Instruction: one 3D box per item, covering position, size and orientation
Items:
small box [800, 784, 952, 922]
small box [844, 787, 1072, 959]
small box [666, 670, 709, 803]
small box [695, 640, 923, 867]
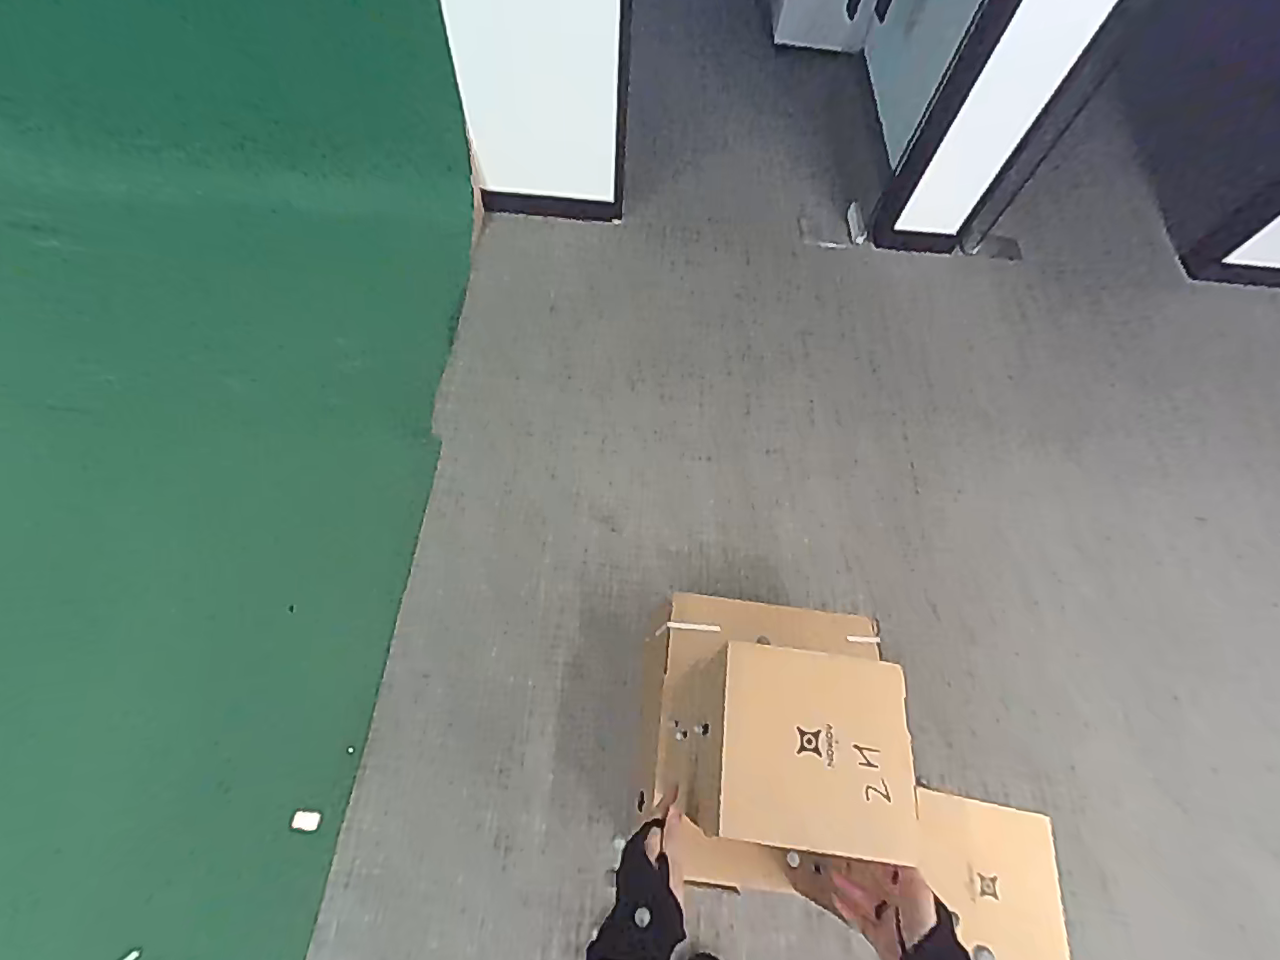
[{"bbox_3d":[0.347,0.542,0.805,0.168,0.176,0.179,11,61,0],"label":"small box"},{"bbox_3d":[0.369,0.476,0.657,0.179,0.176,0.168,11,62,1],"label":"small box"},{"bbox_3d":[0.137,0.418,0.853,0.168,0.176,0.179,10,61,2],"label":"small box"},{"bbox_3d":[0.156,0.276,0.556,0.179,0.176,0.168,8,62,1],"label":"small box"}]
